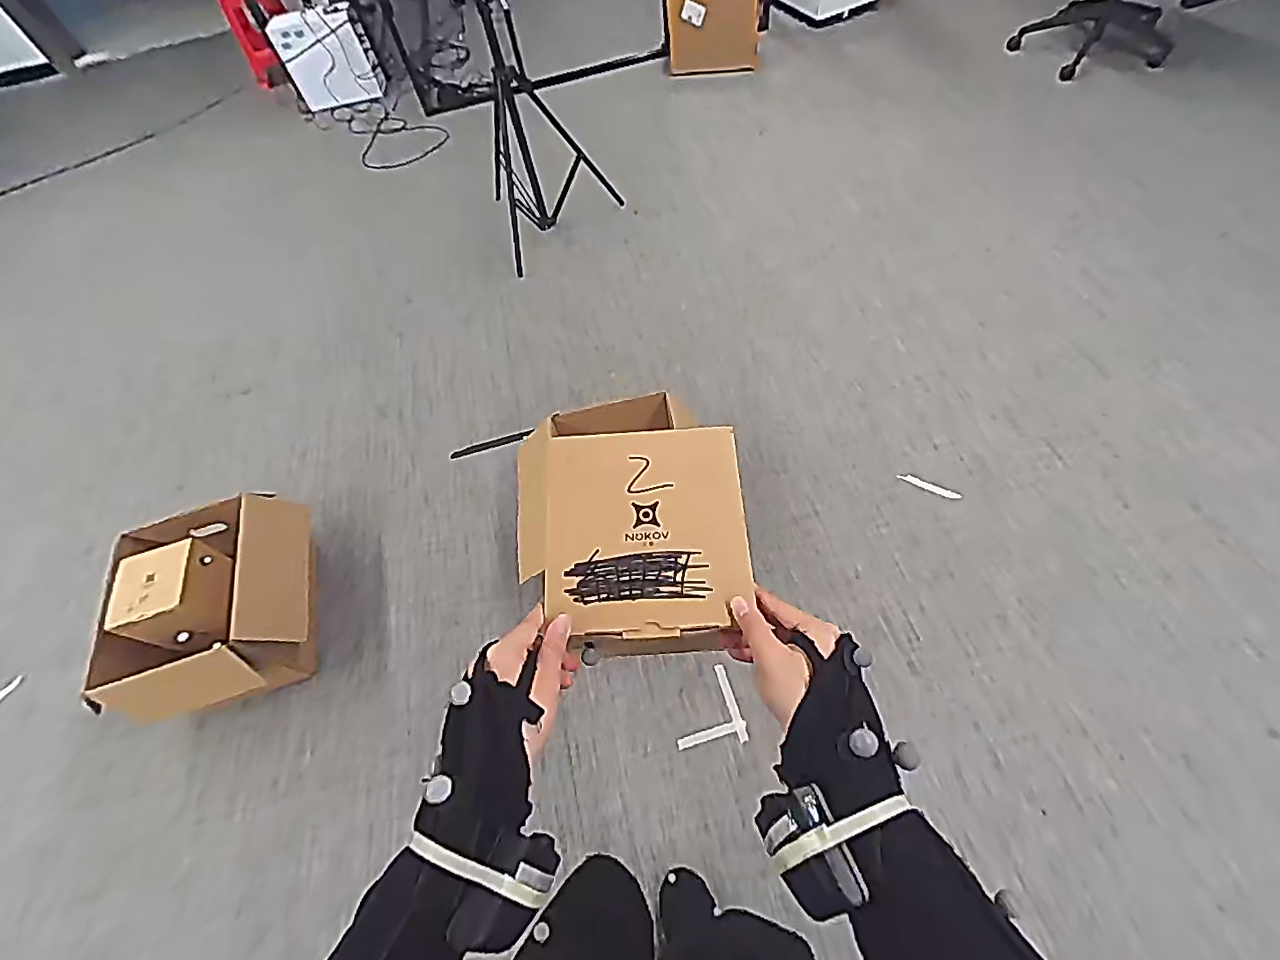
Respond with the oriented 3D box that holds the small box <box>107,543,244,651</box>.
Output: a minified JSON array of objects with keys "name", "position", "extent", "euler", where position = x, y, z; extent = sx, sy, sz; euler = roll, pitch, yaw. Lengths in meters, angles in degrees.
[{"name":"small box","position":[-1.077,0.279,1.273],"extent":[0.168,0.176,0.179],"euler":[-18,58,-3]}]
